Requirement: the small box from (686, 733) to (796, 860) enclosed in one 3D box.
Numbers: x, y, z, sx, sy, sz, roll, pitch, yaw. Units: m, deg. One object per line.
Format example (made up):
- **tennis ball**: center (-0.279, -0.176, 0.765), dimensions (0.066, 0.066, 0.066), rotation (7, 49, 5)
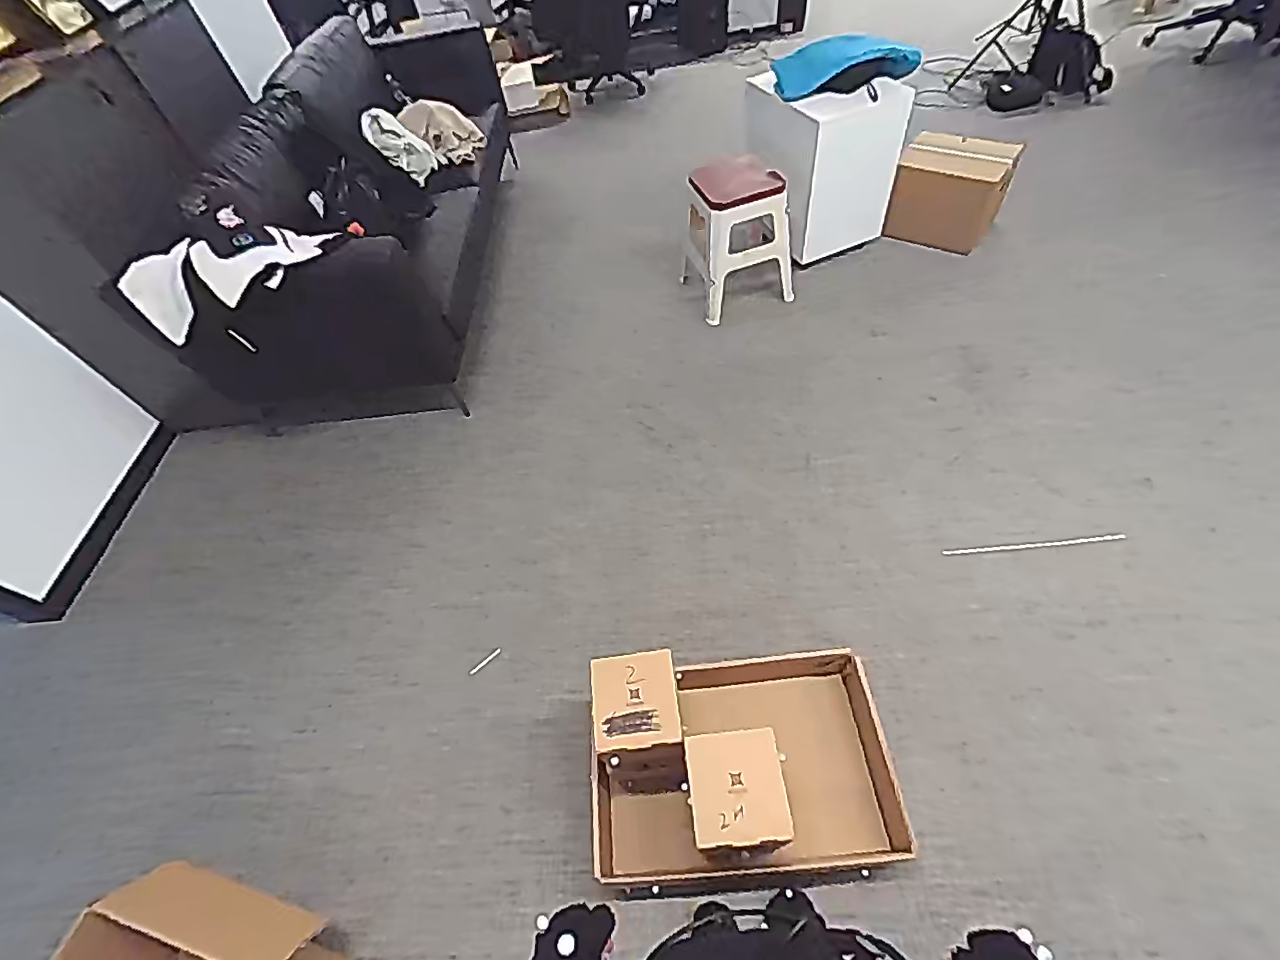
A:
- **small box**: center (0.176, 0.584, 0.995), dimensions (0.168, 0.176, 0.179), rotation (-7, 53, 3)
